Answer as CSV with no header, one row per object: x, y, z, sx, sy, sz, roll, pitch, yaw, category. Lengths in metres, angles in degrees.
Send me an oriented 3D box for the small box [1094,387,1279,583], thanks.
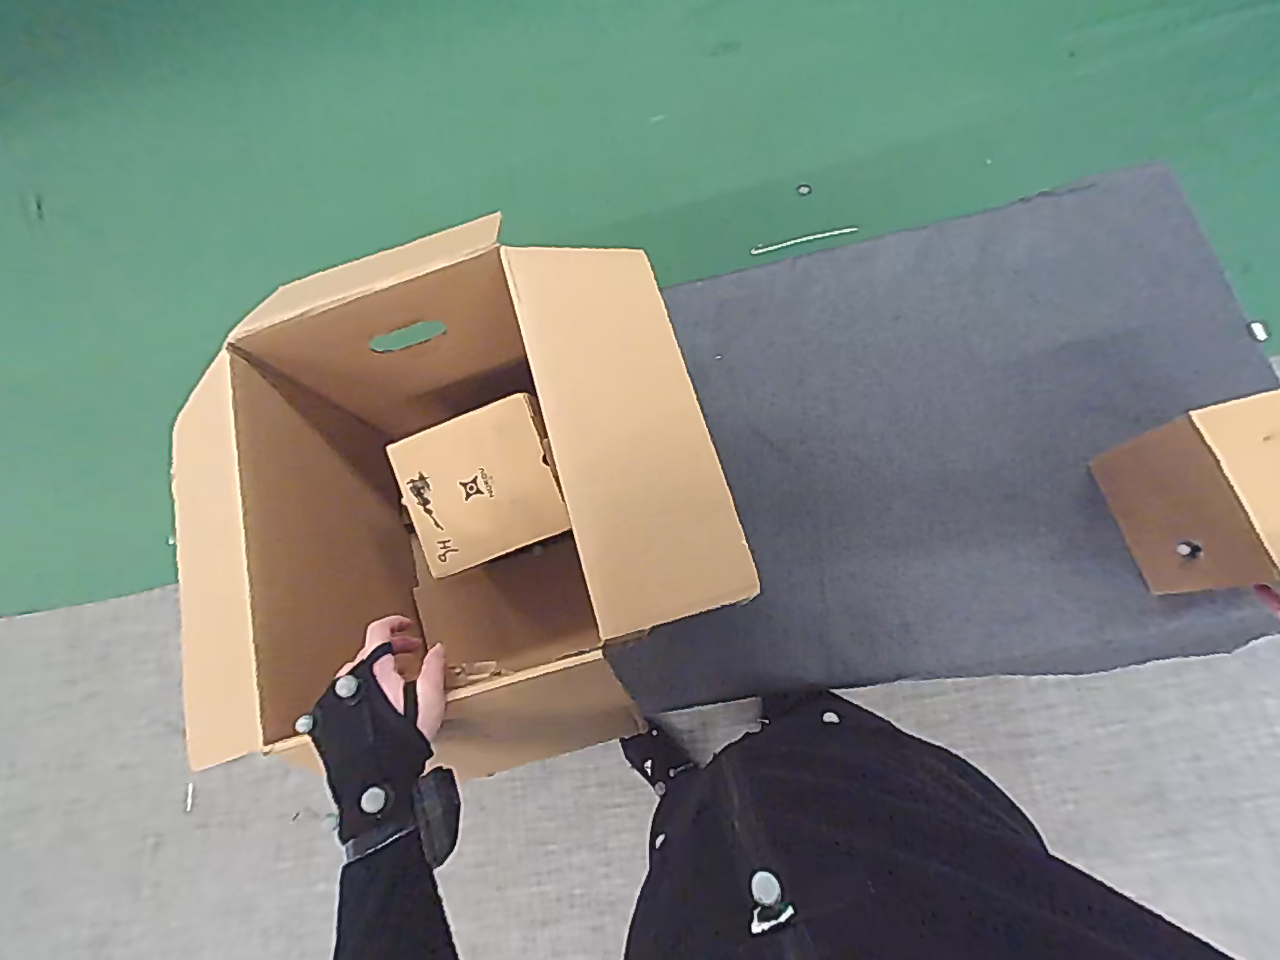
0.663,0.010,0.590,0.168,0.176,0.179,-15,73,5,small box
